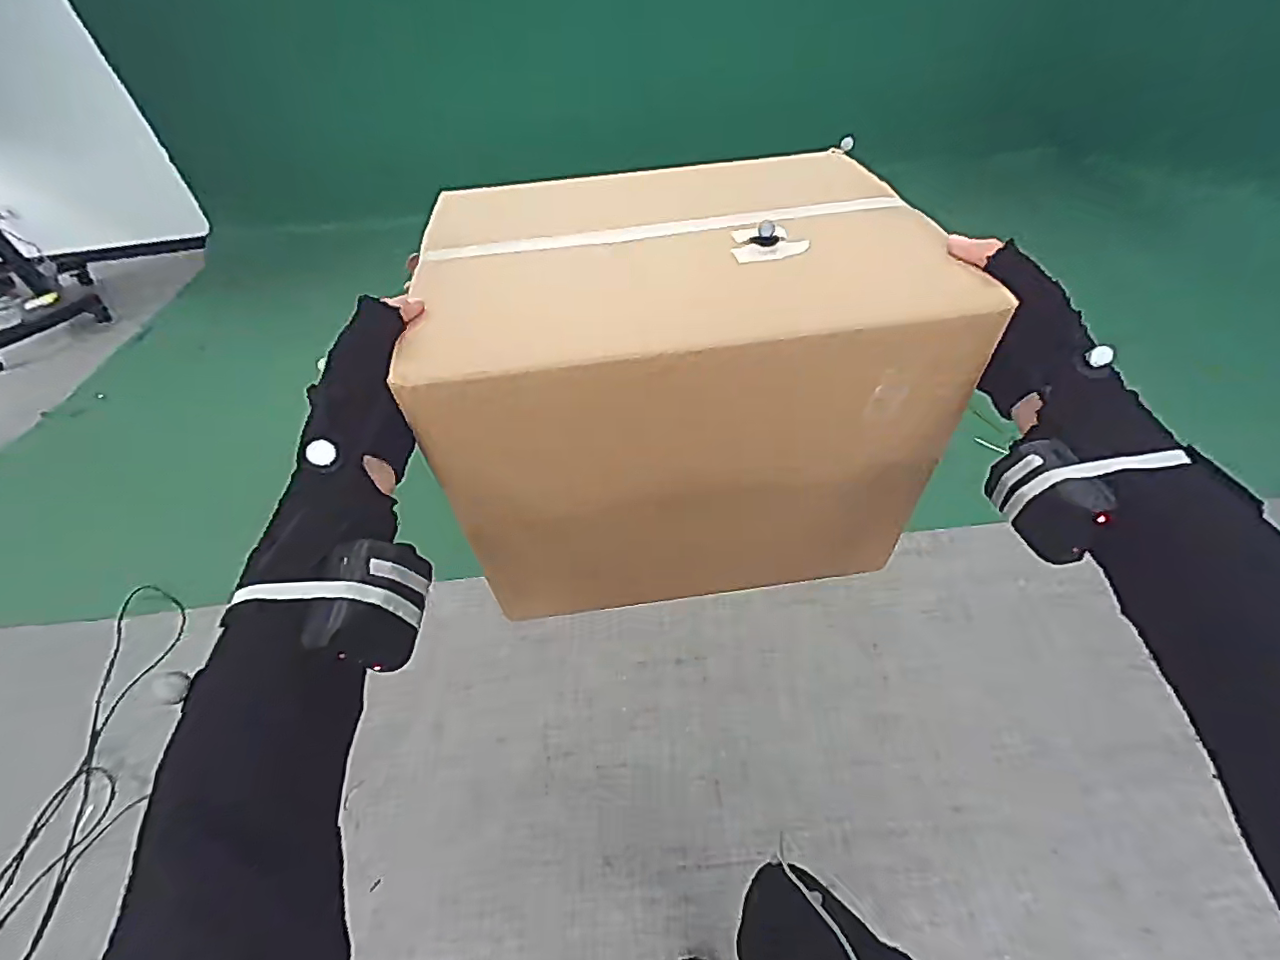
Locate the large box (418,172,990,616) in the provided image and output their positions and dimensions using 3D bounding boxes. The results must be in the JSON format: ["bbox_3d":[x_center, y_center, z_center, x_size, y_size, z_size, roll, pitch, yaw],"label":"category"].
[{"bbox_3d":[0.034,-0.091,0.569,0.408,0.320,0.320,-7,48,-3],"label":"large box"}]
